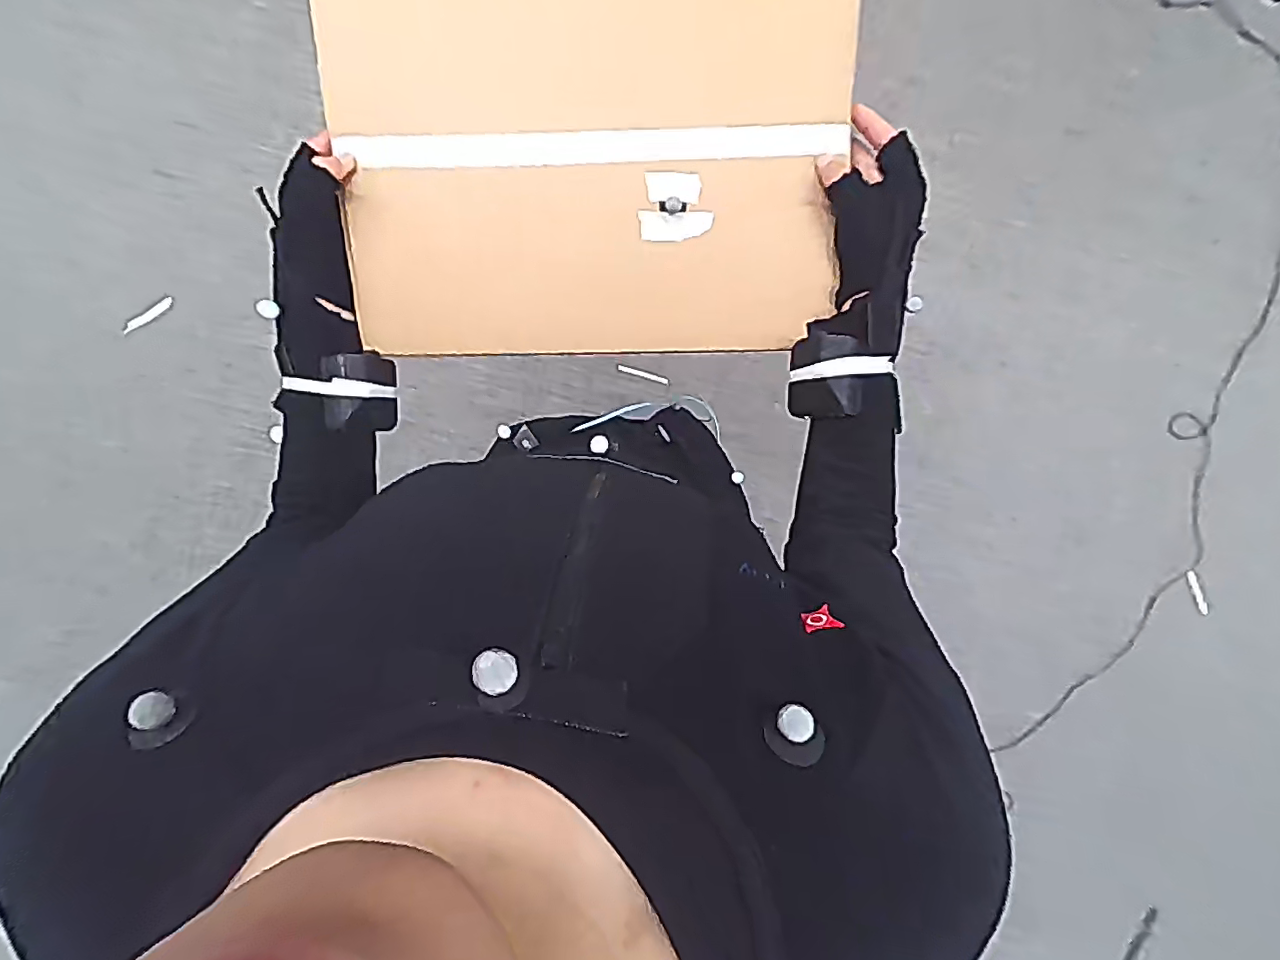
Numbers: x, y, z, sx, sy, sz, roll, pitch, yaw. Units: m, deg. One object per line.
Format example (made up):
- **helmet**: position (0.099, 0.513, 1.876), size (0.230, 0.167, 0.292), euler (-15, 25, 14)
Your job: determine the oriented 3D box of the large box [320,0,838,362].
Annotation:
- **large box**: position (-0.044, -0.302, 0.584), size (0.408, 0.320, 0.320), euler (-2, 106, 0)
